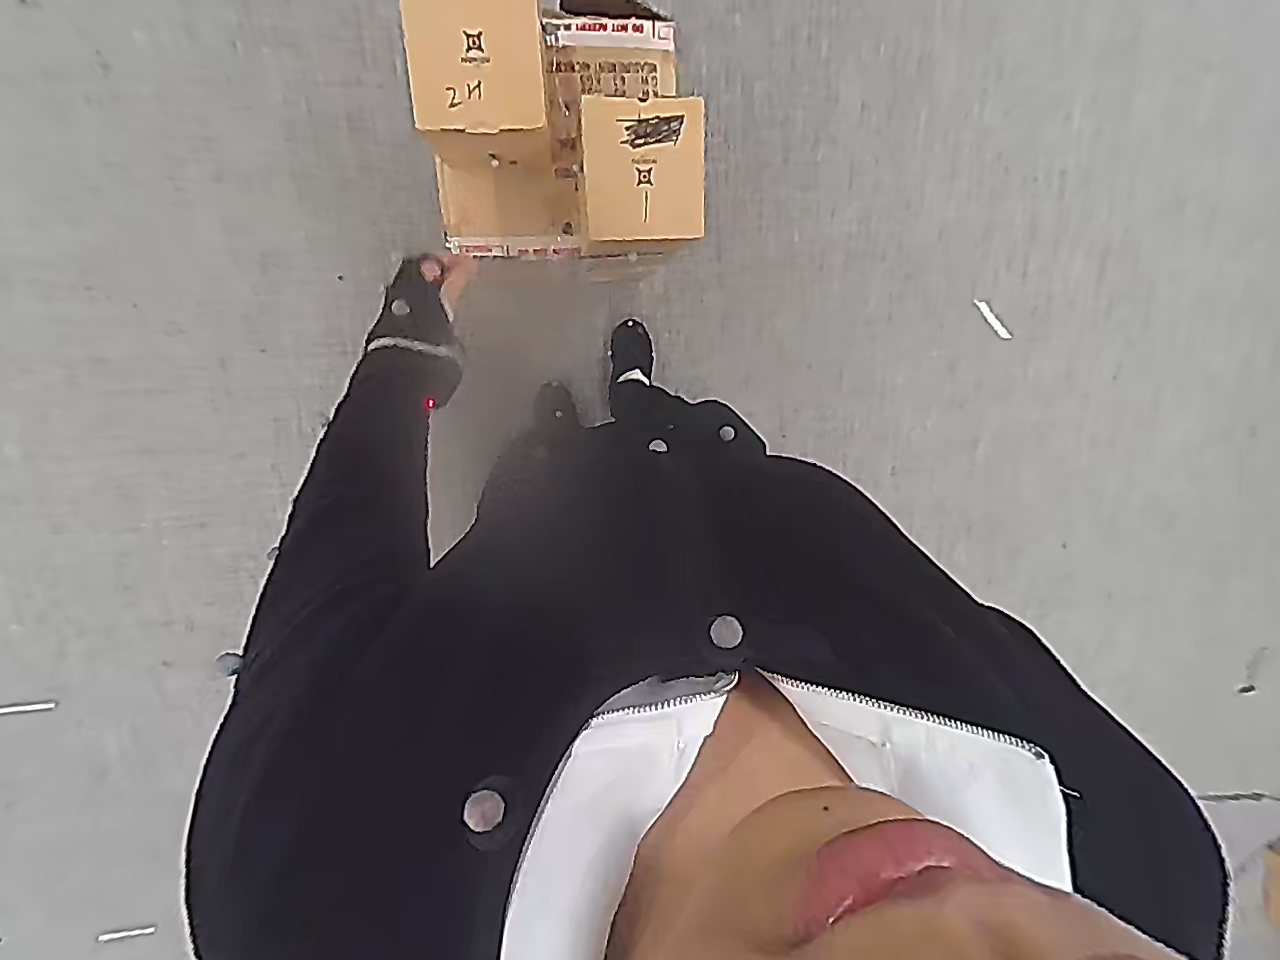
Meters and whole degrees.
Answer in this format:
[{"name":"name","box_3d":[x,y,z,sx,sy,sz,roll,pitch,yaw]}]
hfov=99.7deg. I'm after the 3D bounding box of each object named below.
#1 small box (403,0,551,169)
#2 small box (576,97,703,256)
[{"name":"small box","box_3d":[-0.214,-0.553,0.750,0.168,0.176,0.179,-3,106,-5]},{"name":"small box","box_3d":[-0.006,-0.441,0.811,0.168,0.176,0.179,-4,107,-8]}]
